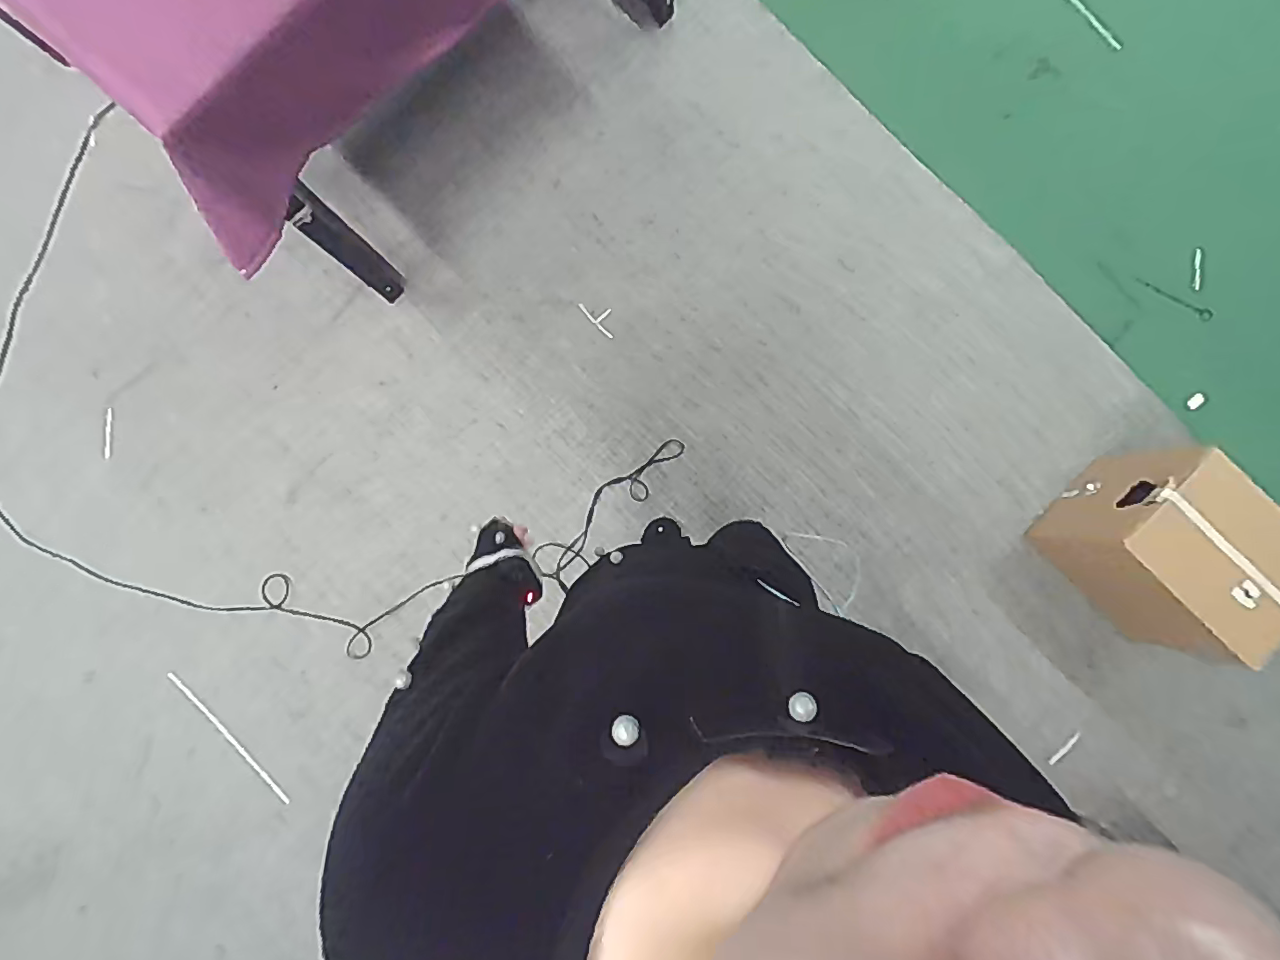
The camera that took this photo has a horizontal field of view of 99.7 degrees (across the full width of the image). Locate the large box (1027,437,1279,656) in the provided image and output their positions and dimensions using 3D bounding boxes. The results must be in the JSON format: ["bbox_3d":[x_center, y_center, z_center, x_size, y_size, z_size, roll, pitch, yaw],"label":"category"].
[{"bbox_3d":[1.305,0.151,1.343,0.408,0.320,0.320,45,88,1],"label":"large box"}]
